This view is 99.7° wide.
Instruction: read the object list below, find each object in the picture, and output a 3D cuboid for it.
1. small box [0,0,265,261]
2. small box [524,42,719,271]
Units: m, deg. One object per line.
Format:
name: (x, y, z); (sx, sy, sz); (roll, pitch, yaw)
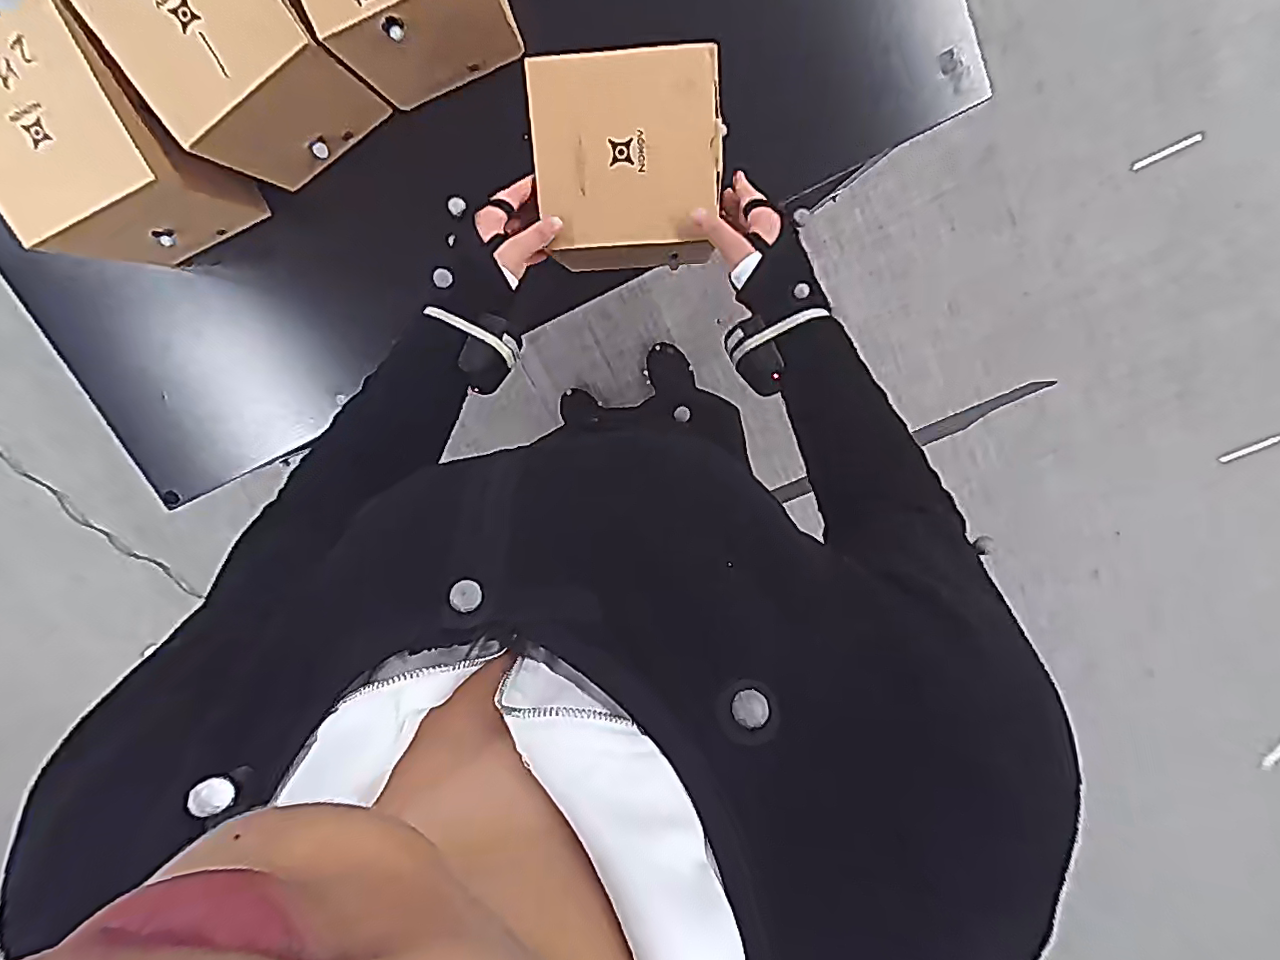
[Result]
small box: (-0.574, -0.359, 0.598); (0.168, 0.176, 0.179); (-22, 102, 7)
small box: (-0.012, -0.327, 0.583); (0.179, 0.176, 0.168); (-3, 103, 4)
